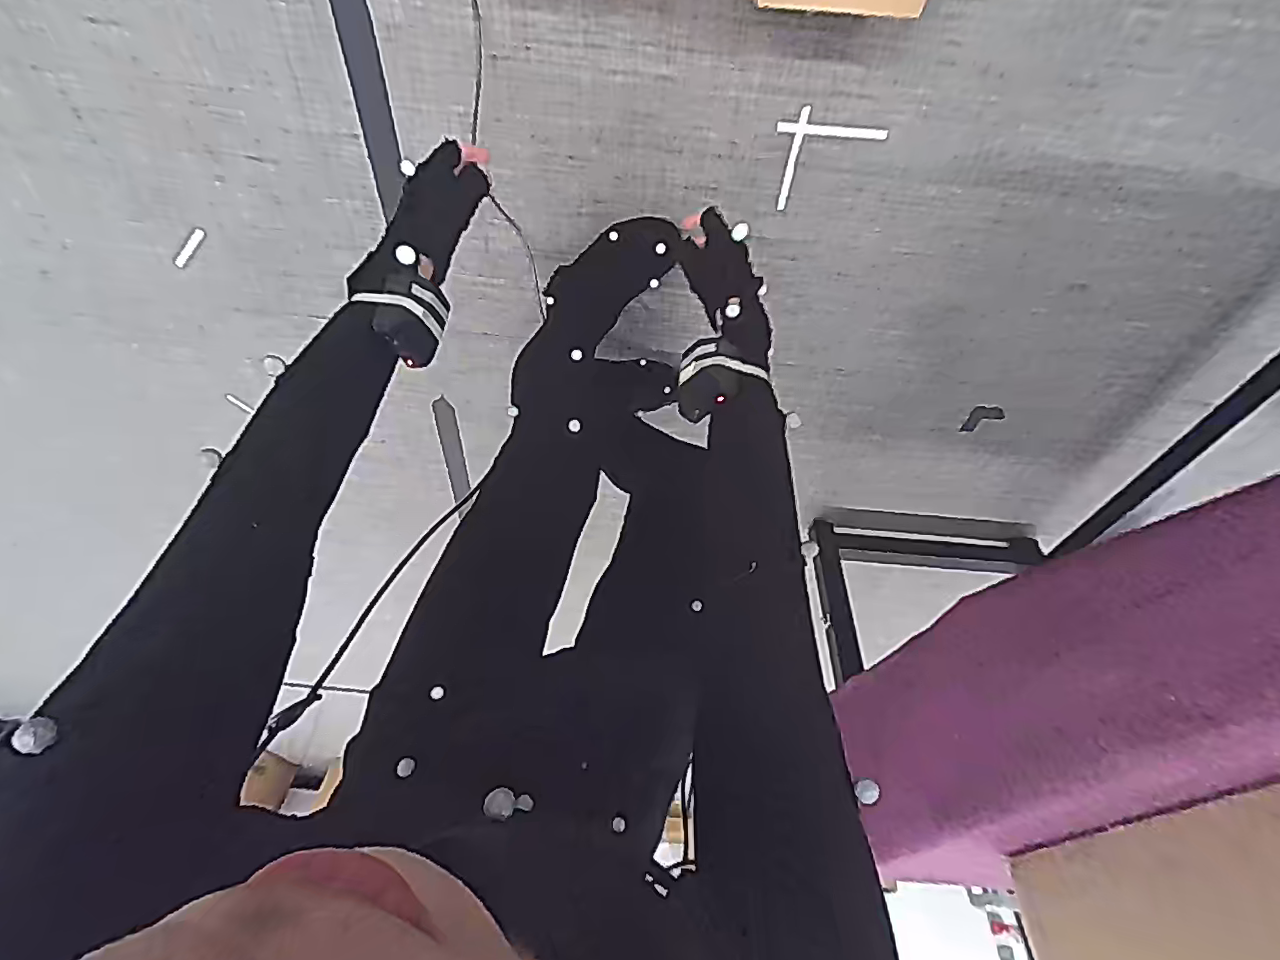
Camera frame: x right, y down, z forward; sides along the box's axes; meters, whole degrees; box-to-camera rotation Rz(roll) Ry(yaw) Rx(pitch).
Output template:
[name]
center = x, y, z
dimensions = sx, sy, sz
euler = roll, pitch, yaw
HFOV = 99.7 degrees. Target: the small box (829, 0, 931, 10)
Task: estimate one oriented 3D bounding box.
[small box]
center = 0.209, -0.581, 0.515
dimensions = 0.168, 0.176, 0.179
euler = 5, 138, 0
